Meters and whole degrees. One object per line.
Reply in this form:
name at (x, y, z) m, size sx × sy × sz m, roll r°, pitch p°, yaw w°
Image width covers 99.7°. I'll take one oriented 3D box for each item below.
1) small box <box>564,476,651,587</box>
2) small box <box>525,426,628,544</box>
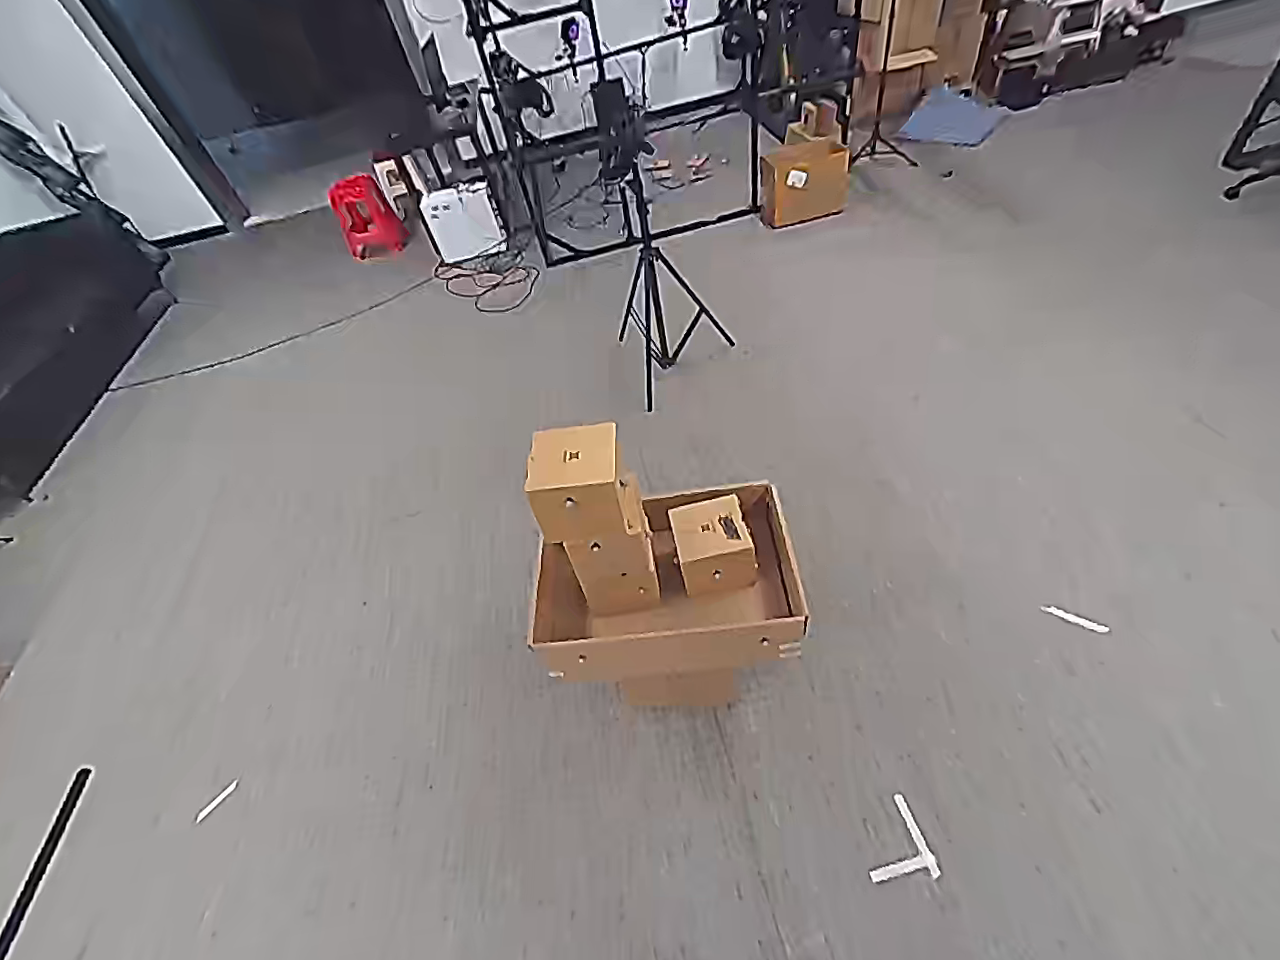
small box at (-0.072, 0.118, 1.227) m, size 0.168 × 0.176 × 0.179 m, roll -9°, pitch 47°, yaw 3°
small box at (-0.120, 0.013, 1.110) m, size 0.179 × 0.176 × 0.168 m, roll -7°, pitch 47°, yaw 5°
